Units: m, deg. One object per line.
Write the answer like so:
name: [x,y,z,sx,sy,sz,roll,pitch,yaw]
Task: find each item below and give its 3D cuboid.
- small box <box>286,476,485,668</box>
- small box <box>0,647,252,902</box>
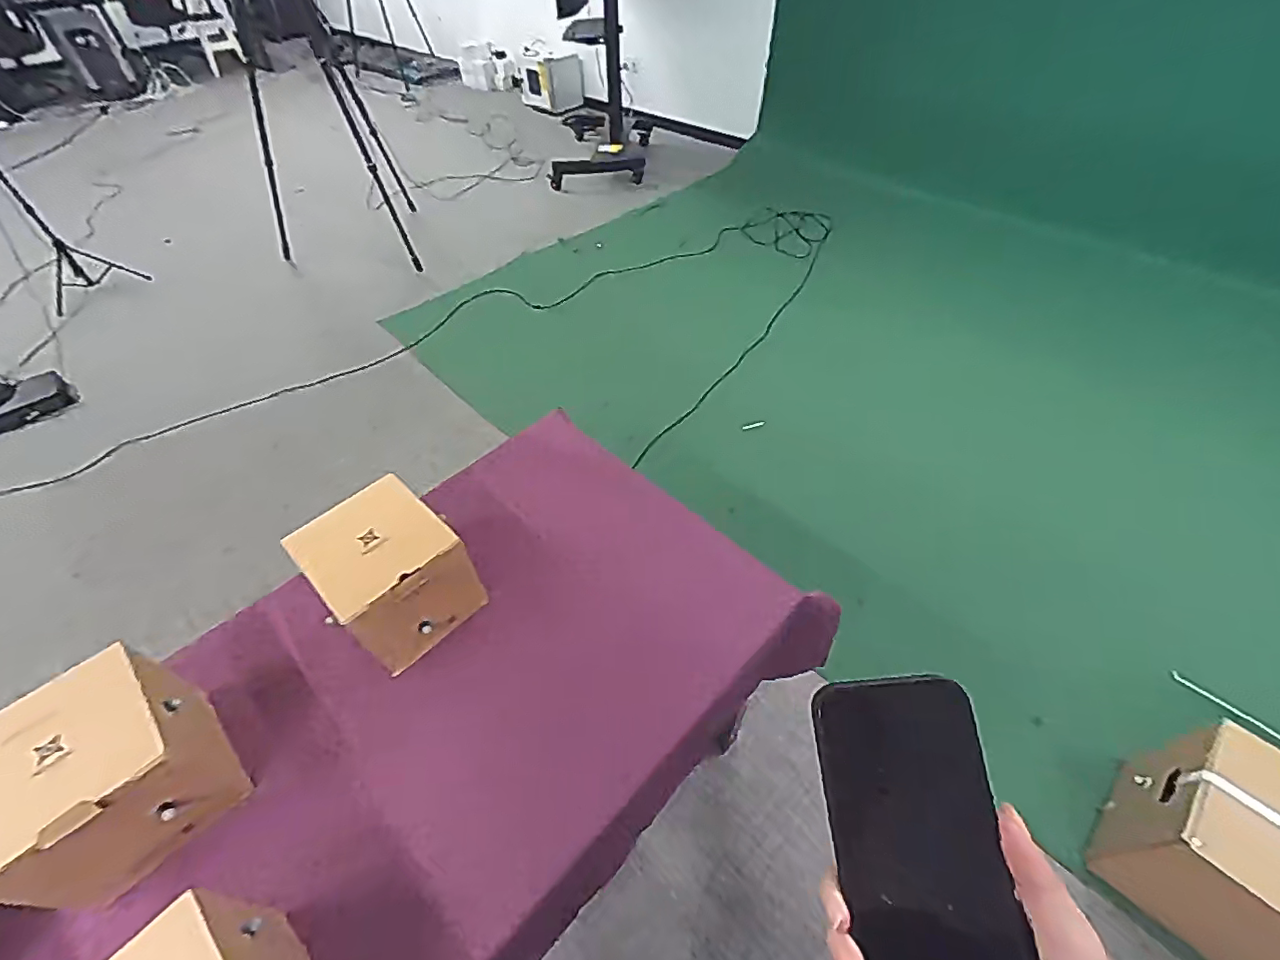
small box: [-0.352,0.133,0.773,0.179,0.176,0.168,35,59,27]
small box: [-0.588,0.332,0.611,0.179,0.176,0.168,36,58,28]
